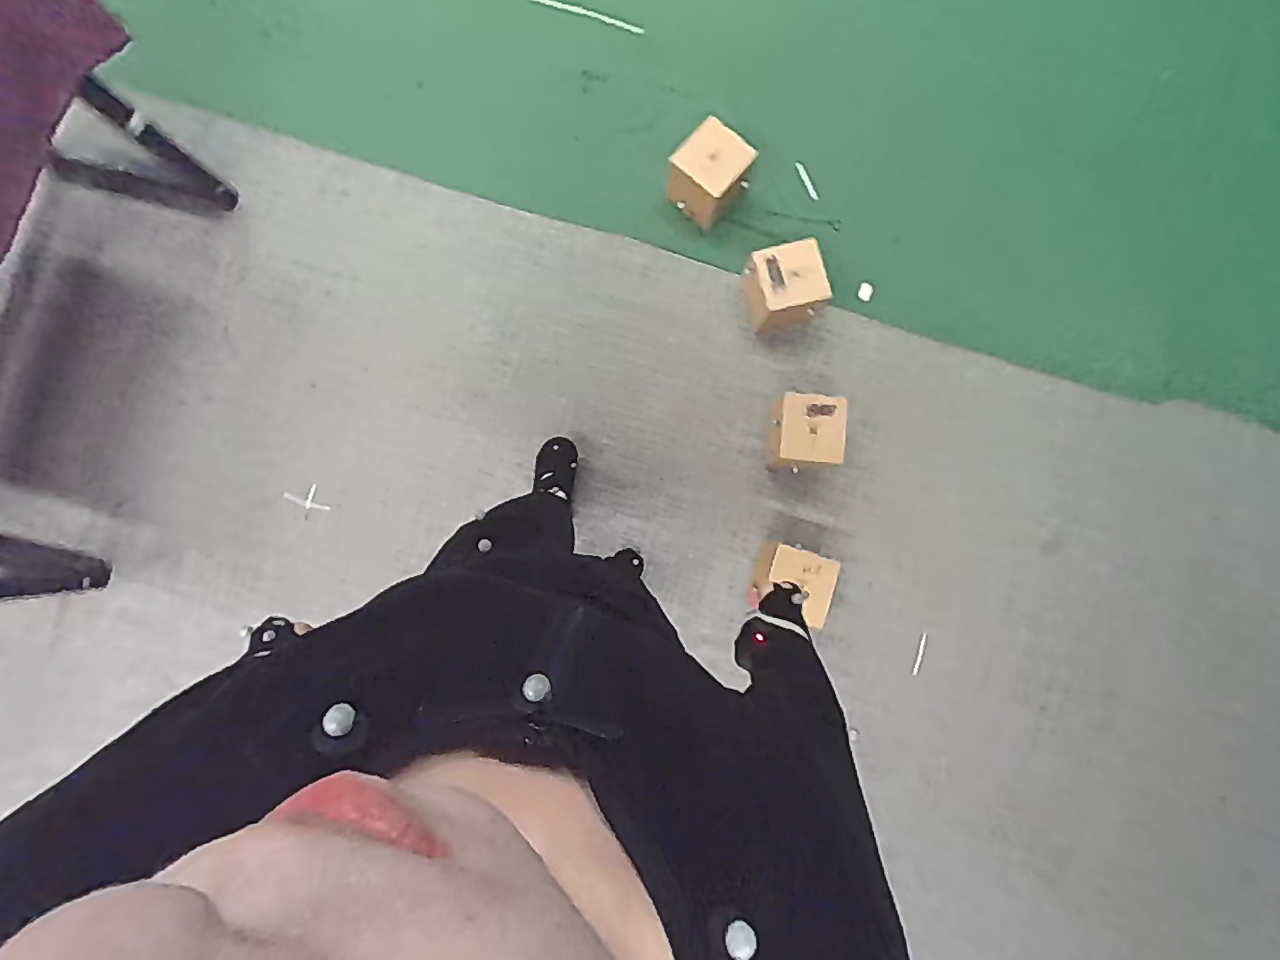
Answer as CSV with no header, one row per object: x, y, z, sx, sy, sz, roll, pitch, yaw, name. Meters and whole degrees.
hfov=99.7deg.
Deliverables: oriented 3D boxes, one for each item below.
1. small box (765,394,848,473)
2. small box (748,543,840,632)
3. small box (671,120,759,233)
0.440,-0.119,1.452,0.168,0.176,0.179,6,85,0,small box
0.392,0.274,1.414,0.168,0.176,0.179,19,85,0,small box
0.202,-0.845,1.520,0.168,0.176,0.179,42,85,3,small box
